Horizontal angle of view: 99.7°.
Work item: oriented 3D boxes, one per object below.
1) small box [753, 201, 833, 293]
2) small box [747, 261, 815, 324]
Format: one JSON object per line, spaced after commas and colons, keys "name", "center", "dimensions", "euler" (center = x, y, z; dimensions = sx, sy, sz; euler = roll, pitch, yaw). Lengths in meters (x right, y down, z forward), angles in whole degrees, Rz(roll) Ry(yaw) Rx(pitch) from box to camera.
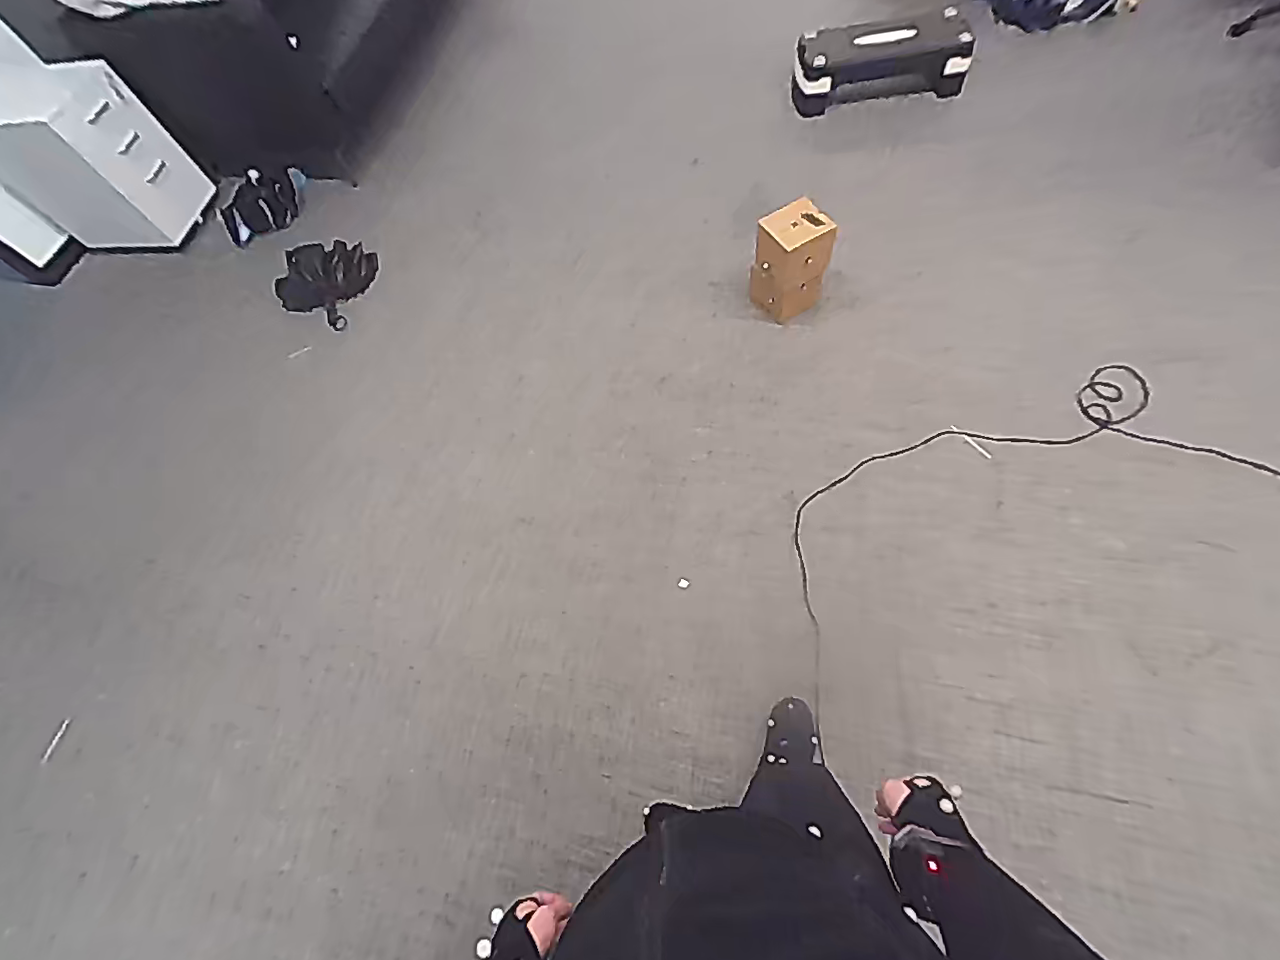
{"name": "small box", "center": [0.474, -0.731, 1.706], "dimensions": [0.179, 0.176, 0.168], "euler": [-29, 64, -5]}
{"name": "small box", "center": [0.486, -0.674, 1.860], "dimensions": [0.179, 0.176, 0.168], "euler": [-35, 65, -10]}
